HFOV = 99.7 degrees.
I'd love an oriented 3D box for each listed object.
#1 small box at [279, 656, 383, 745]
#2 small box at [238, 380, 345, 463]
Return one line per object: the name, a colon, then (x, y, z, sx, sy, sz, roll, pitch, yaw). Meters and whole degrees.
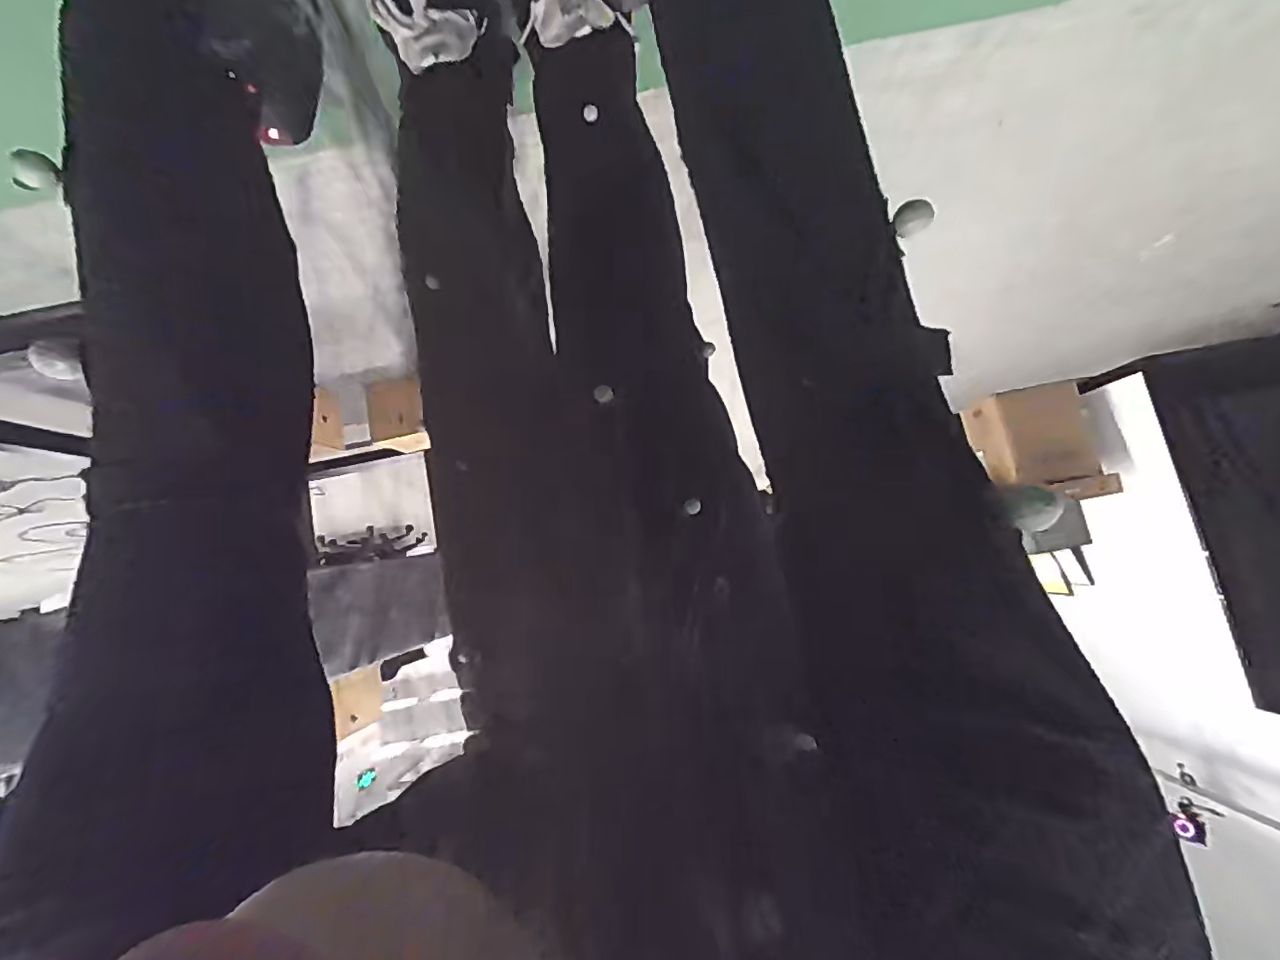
small box: (-0.796, 0.565, 1.402, 0.168, 0.176, 0.179, -11, 172, 5)
small box: (-0.914, -0.154, 1.421, 0.168, 0.176, 0.179, -11, 174, 2)
